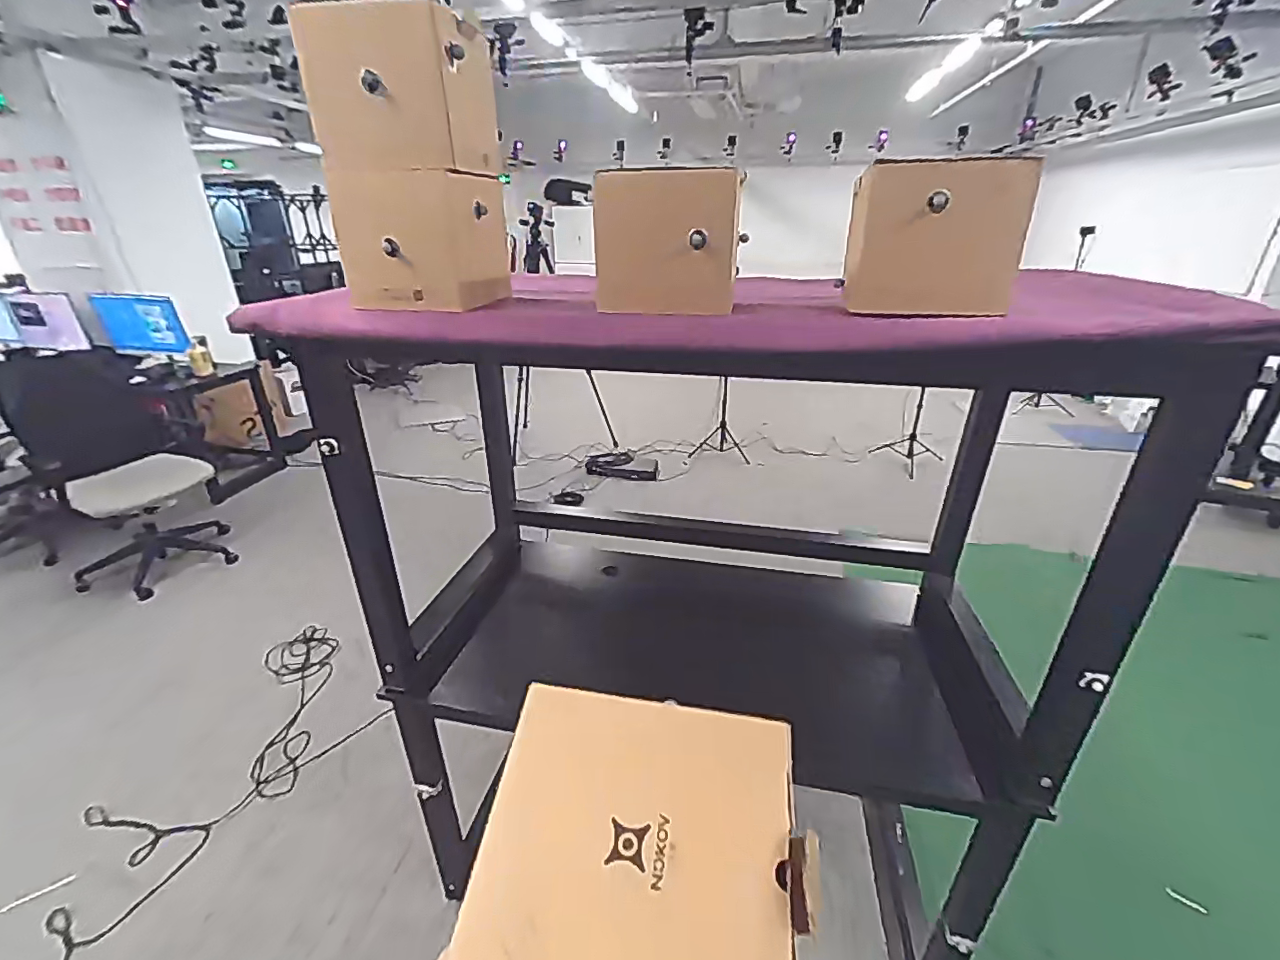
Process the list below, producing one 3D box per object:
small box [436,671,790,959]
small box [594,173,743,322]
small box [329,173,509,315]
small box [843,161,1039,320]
[{"bbox_3d":[-0.002,0.254,0.364,0.179,0.176,0.168,6,46,7],"label":"small box"},{"bbox_3d":[0.045,-0.314,0.737,0.179,0.176,0.168,4,24,10],"label":"small box"},{"bbox_3d":[-0.295,-0.334,0.771,0.168,0.176,0.179,5,26,8],"label":"small box"},{"bbox_3d":[0.366,-0.300,0.700,0.179,0.176,0.168,6,23,12],"label":"small box"}]
